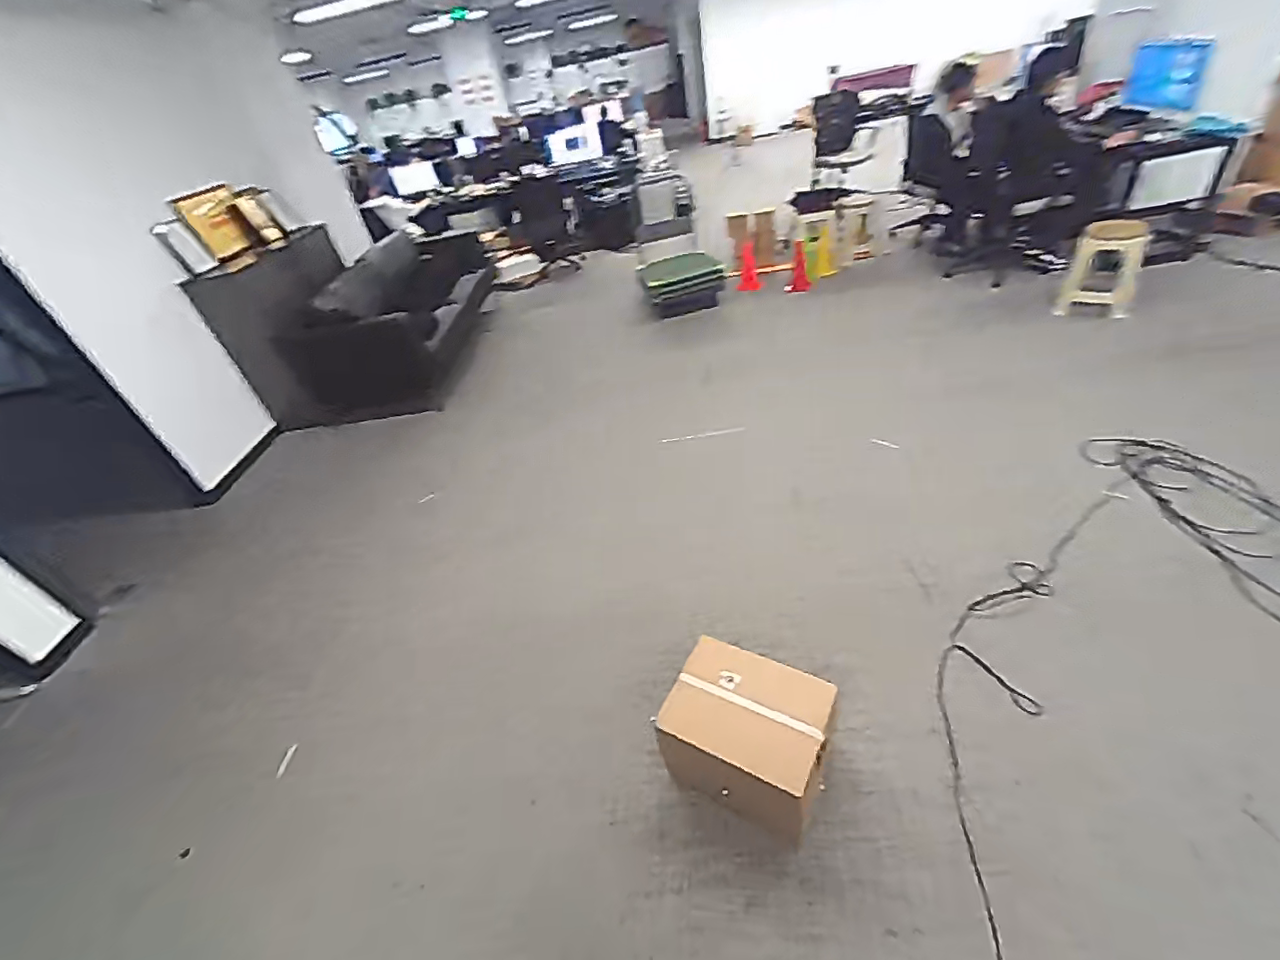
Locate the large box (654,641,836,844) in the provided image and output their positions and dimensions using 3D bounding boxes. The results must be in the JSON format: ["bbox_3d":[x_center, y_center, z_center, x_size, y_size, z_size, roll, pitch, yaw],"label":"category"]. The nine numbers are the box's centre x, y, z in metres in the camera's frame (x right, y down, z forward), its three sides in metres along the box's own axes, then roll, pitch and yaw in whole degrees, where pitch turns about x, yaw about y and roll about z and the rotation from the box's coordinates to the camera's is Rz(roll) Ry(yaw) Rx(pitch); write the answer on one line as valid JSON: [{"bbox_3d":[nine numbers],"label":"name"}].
[{"bbox_3d":[0.310,0.723,1.517,0.408,0.320,0.320,12,43,31],"label":"large box"}]
